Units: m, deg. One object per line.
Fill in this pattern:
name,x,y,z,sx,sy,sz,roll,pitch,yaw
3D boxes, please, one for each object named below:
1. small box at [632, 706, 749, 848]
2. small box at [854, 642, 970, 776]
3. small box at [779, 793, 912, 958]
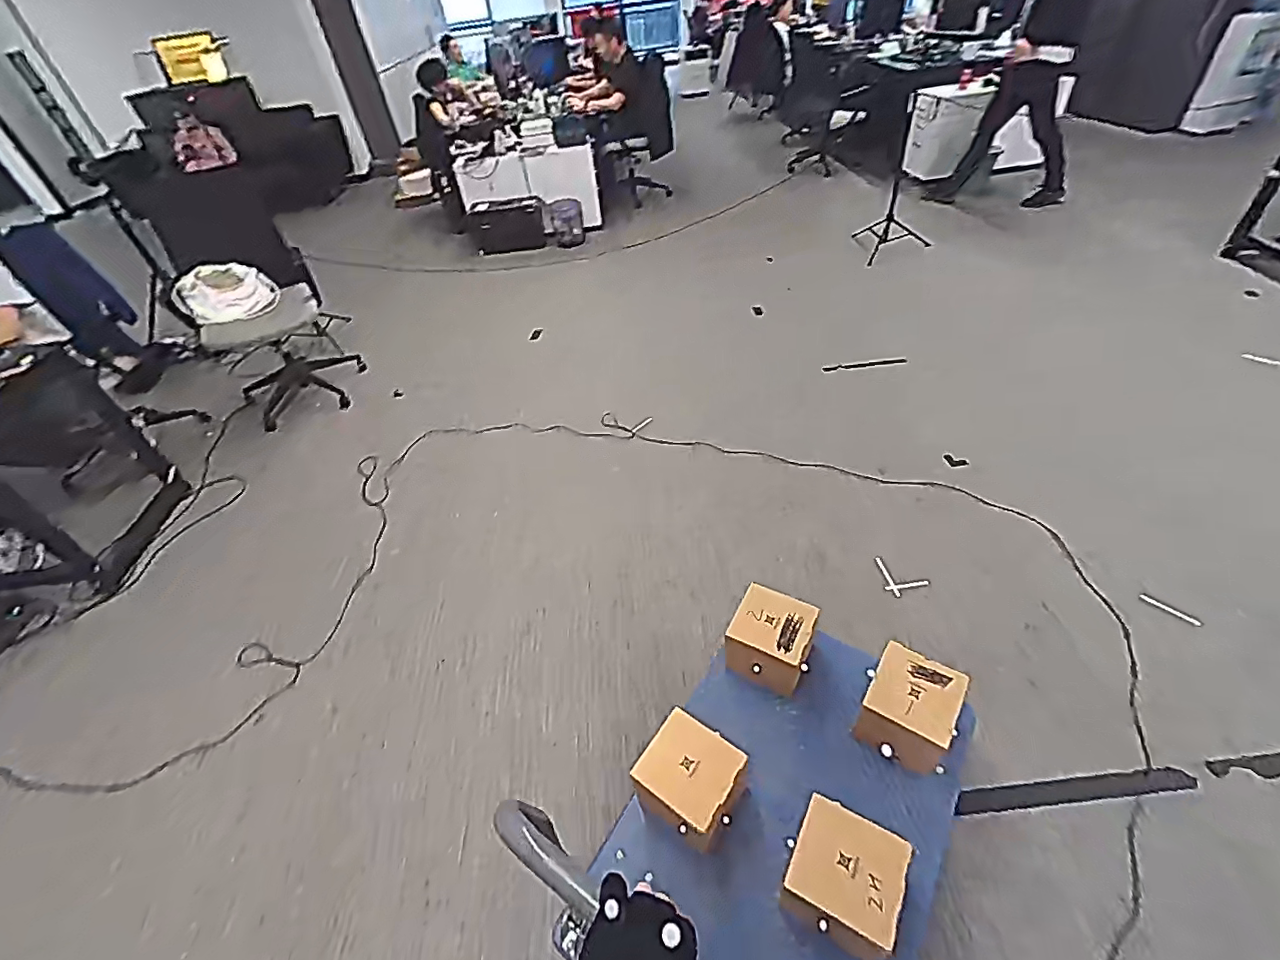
small box,0.104,0.614,1.114,0.179,0.176,0.168,26,52,29
small box,0.581,0.496,1.171,0.168,0.176,0.179,23,52,29
small box,0.361,0.712,0.972,0.179,0.176,0.168,19,49,26
